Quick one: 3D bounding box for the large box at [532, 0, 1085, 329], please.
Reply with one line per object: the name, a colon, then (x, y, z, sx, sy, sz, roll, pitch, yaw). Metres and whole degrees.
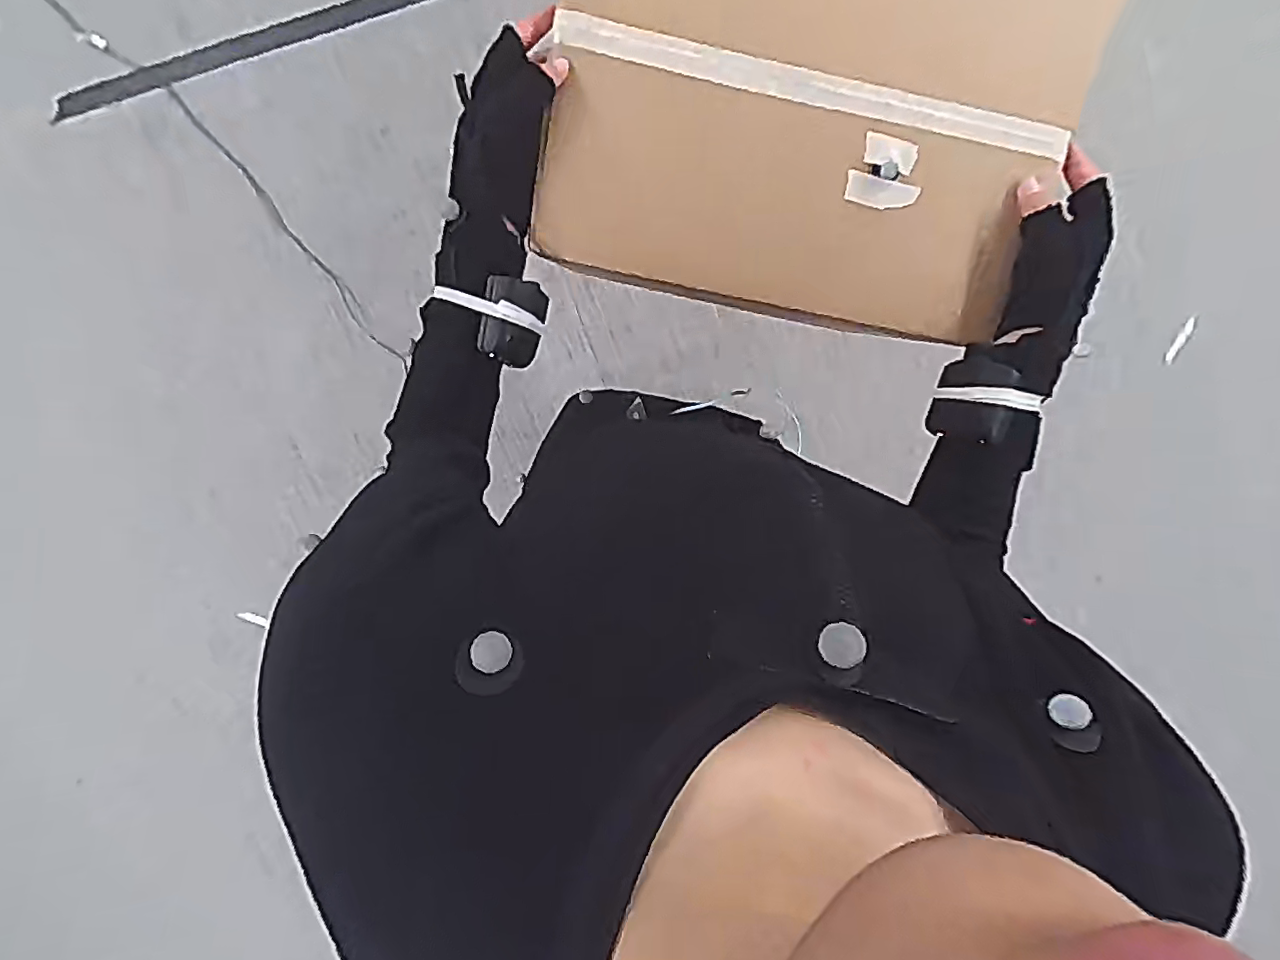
large box: (0.121, -0.351, 0.566, 0.408, 0.320, 0.320, 9, 108, -5)
